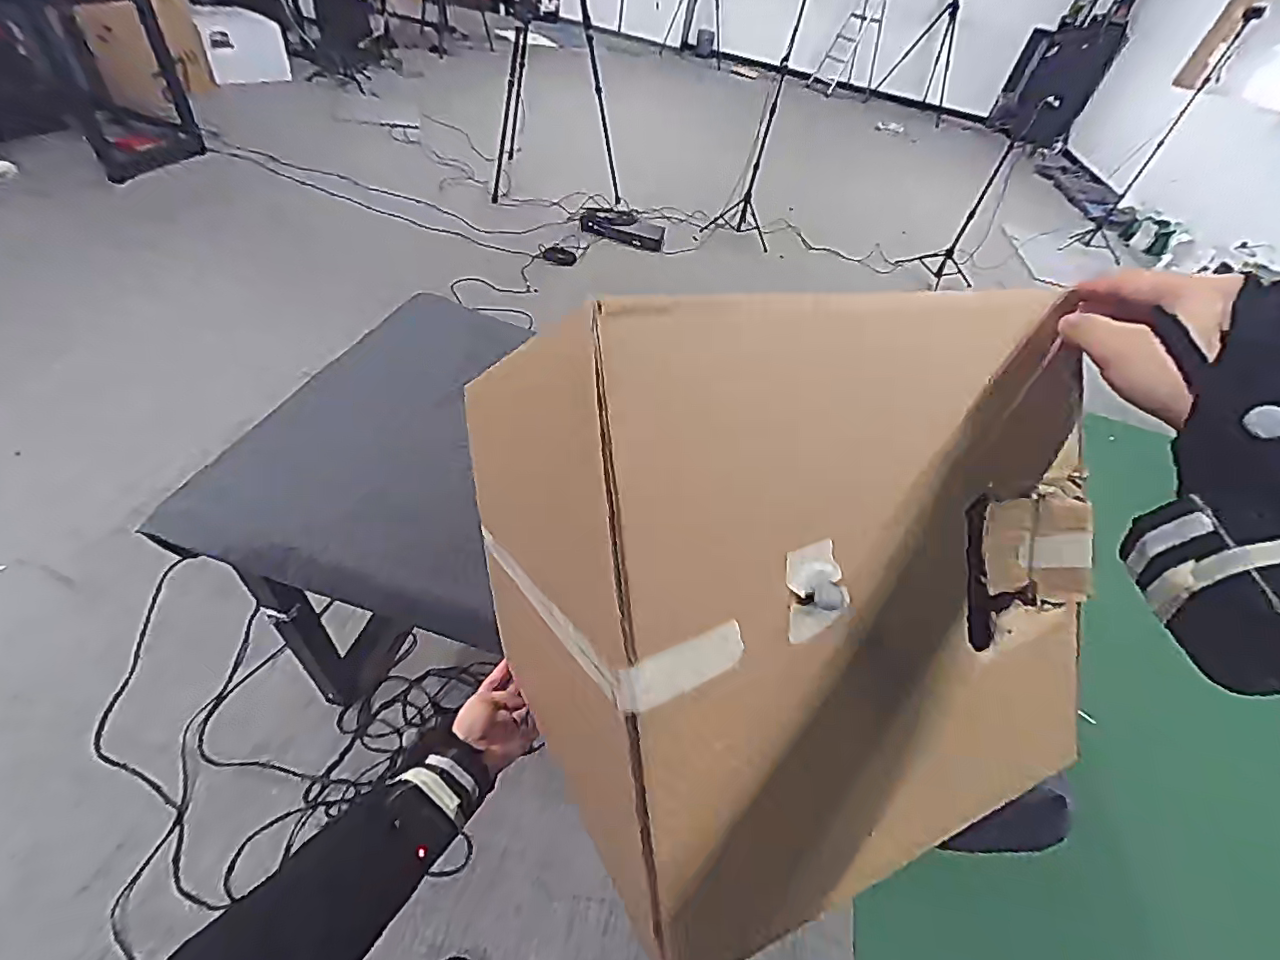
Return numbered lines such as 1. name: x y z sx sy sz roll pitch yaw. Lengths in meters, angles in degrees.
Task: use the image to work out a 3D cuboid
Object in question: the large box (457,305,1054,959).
1. large box: 0.051 0.048 0.465 0.320 0.320 0.408 -10 9 -25
